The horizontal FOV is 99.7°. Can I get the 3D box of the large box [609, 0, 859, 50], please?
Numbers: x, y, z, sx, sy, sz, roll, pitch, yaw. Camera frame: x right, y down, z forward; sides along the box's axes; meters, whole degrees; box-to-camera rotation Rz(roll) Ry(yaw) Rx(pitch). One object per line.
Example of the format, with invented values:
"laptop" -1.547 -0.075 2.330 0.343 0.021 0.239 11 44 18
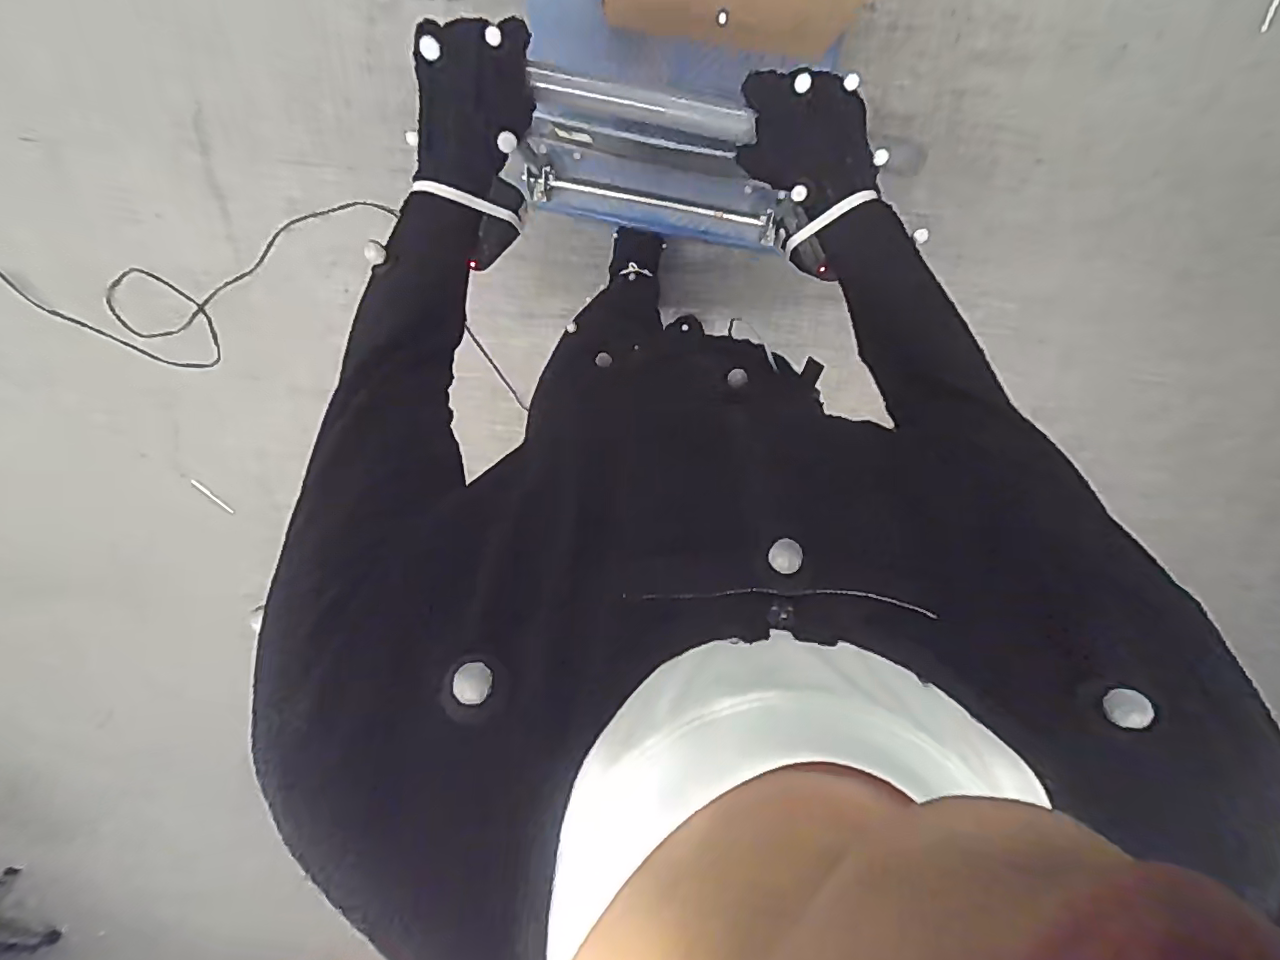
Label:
"large box" 0.158 -0.917 0.832 0.408 0.320 0.320 7 111 0
